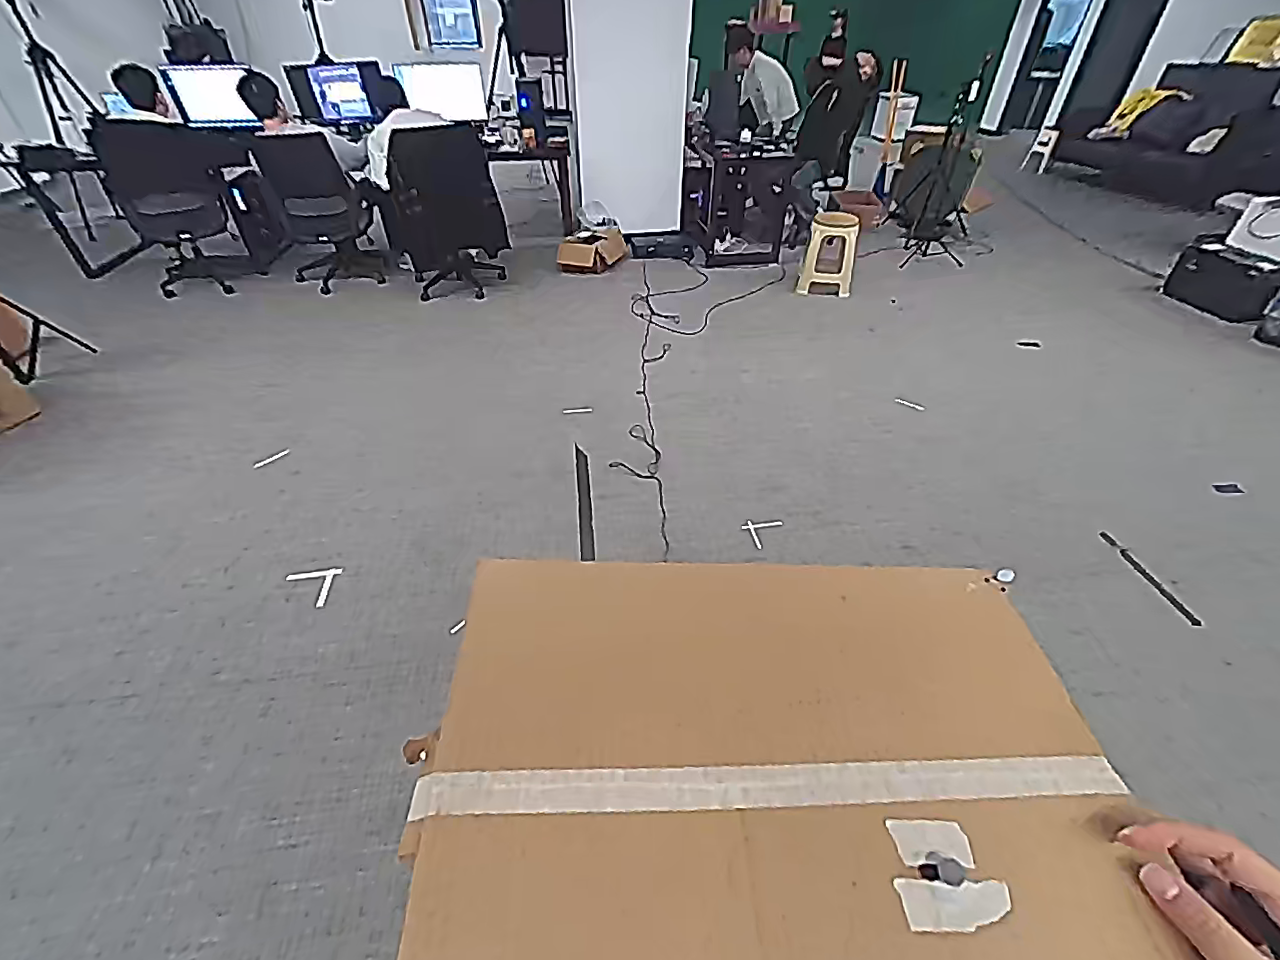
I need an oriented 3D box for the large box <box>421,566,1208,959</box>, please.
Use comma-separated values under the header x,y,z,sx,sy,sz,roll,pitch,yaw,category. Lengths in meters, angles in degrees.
x,y,z,sx,sy,sz,roll,pitch,yaw,category
0.073,0.285,0.423,0.408,0.320,0.320,3,45,-6,large box
